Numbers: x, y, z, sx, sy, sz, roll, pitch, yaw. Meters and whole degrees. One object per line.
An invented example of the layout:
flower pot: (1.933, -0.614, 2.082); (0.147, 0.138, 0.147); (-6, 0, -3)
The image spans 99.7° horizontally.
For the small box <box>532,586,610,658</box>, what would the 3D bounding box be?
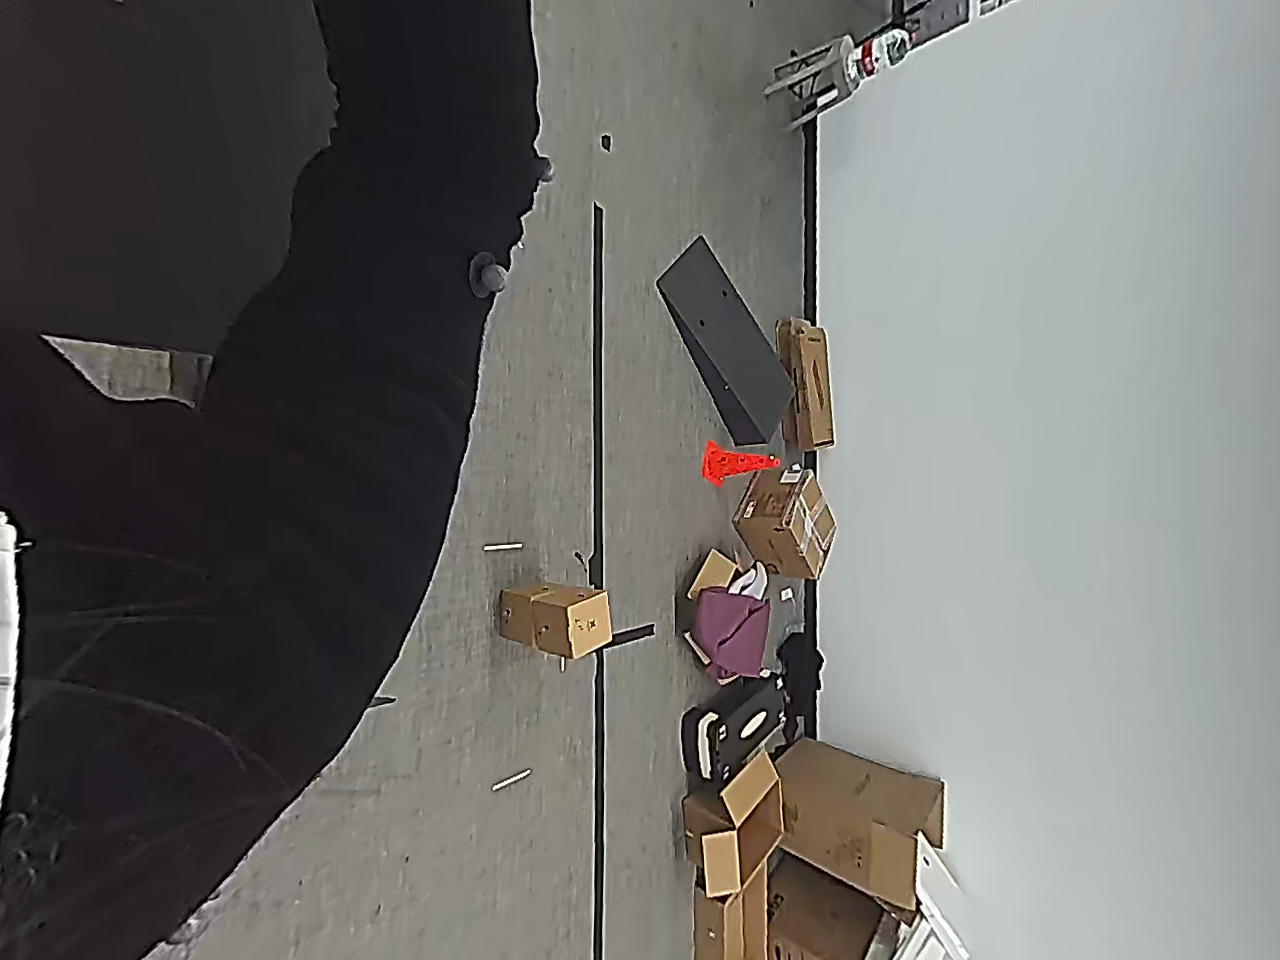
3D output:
small box: (-0.220, 0.443, 1.723); (0.179, 0.176, 0.168); (-11, 97, -48)

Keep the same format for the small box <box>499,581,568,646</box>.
small box: (-0.353, 0.442, 1.822); (0.179, 0.176, 0.168); (-4, 92, -48)
